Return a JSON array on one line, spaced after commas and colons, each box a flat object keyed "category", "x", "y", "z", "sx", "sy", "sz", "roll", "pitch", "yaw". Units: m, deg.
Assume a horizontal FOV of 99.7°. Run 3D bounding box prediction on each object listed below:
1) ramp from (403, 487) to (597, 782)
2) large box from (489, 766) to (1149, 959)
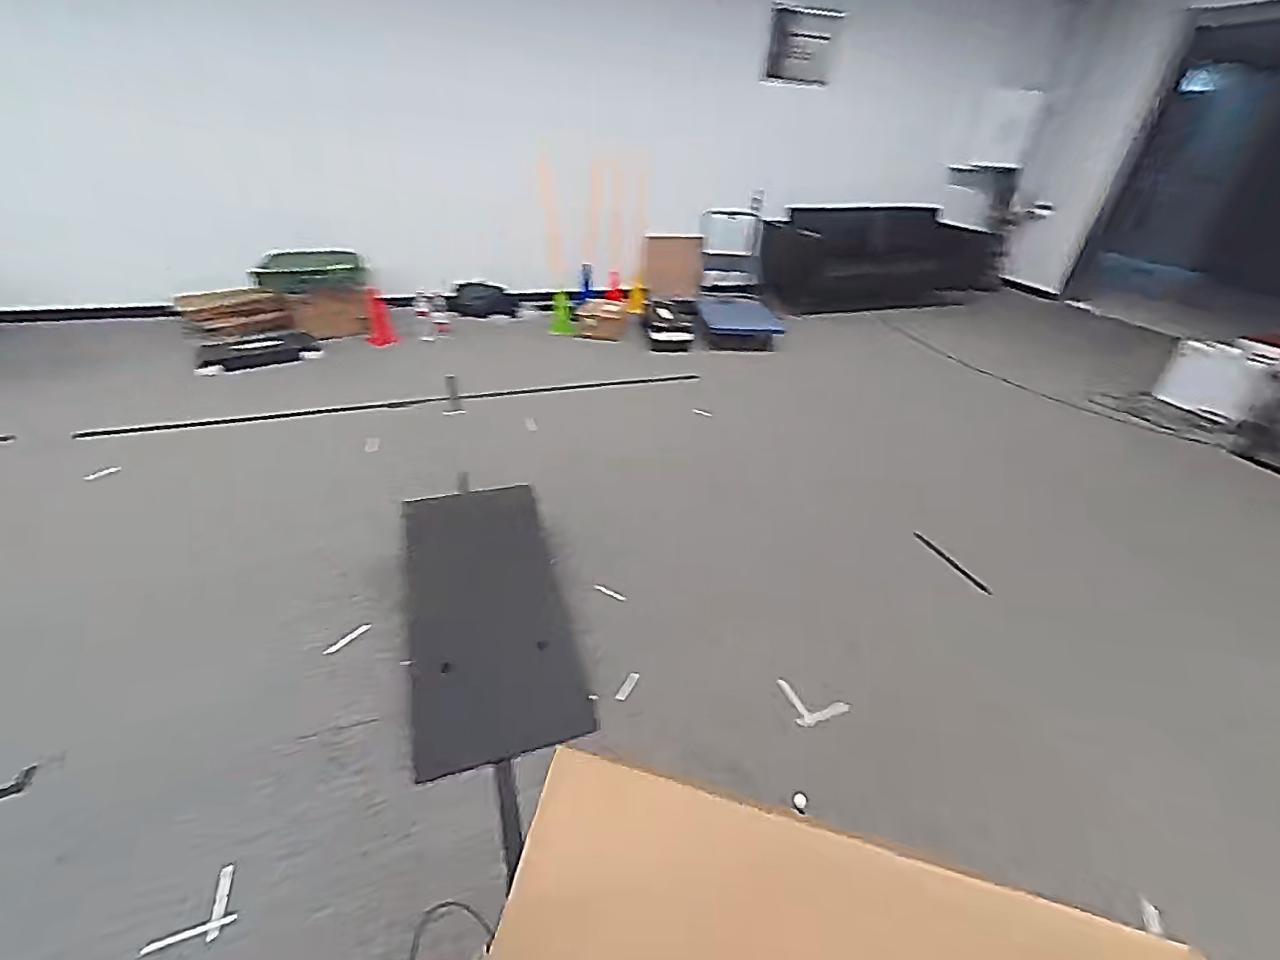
[{"category": "ramp", "x": -0.501, "y": 0.404, "z": 1.781, "sx": 0.509, "sy": 0.206, "sz": 0.991, "roll": -9, "pitch": 36, "yaw": -20}, {"category": "large box", "x": 0.094, "y": 0.443, "z": 0.432, "sx": 0.408, "sy": 0.320, "sz": 0.320, "roll": 11, "pitch": 65, "yaw": 9}]
